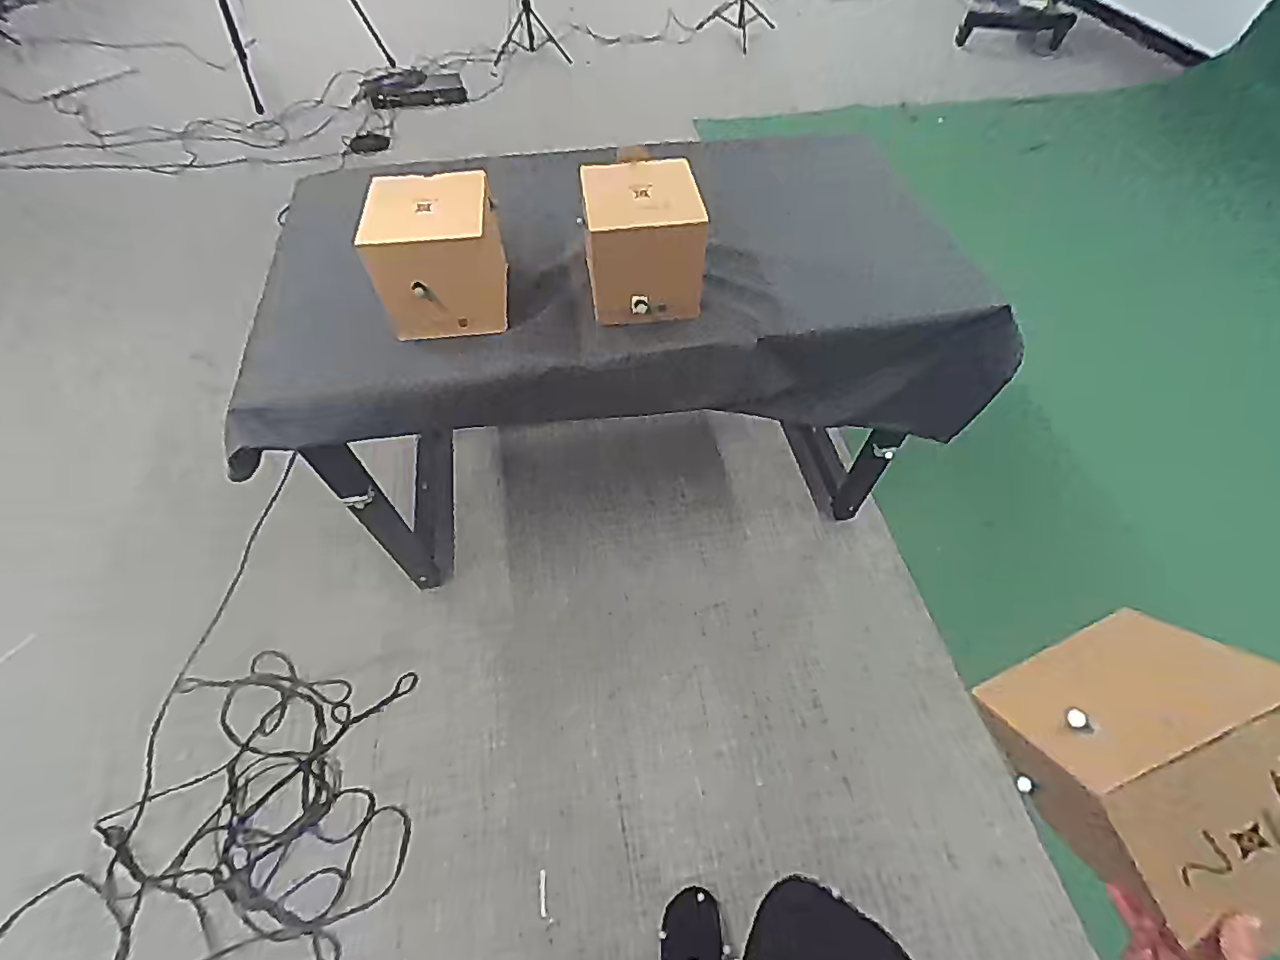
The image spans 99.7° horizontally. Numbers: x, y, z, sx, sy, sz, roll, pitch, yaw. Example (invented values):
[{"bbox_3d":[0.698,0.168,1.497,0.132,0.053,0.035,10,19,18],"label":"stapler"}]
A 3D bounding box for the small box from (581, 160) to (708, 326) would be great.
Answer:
[{"bbox_3d":[0.001,-0.365,0.841,0.168,0.176,0.179,-8,57,-4],"label":"small box"}]

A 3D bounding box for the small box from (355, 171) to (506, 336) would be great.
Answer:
[{"bbox_3d":[-0.302,-0.335,0.818,0.168,0.176,0.179,-7,55,-5],"label":"small box"}]
